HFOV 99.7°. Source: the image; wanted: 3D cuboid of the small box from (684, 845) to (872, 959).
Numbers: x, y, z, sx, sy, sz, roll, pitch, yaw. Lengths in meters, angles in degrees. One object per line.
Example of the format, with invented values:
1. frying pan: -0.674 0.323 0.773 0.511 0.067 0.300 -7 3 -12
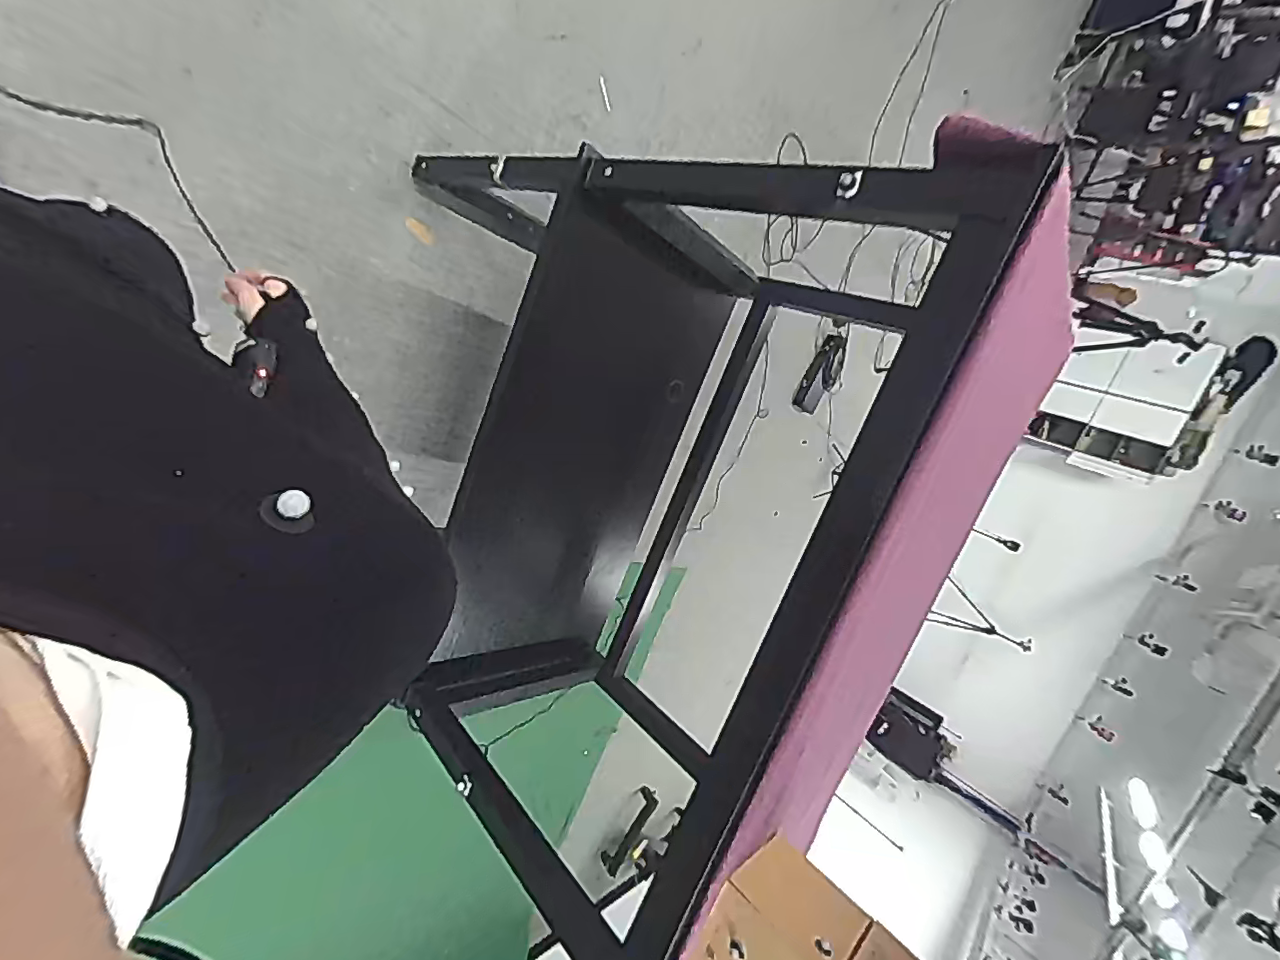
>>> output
1. small box: 0.194 0.672 0.771 0.179 0.176 0.168 12 103 -49
